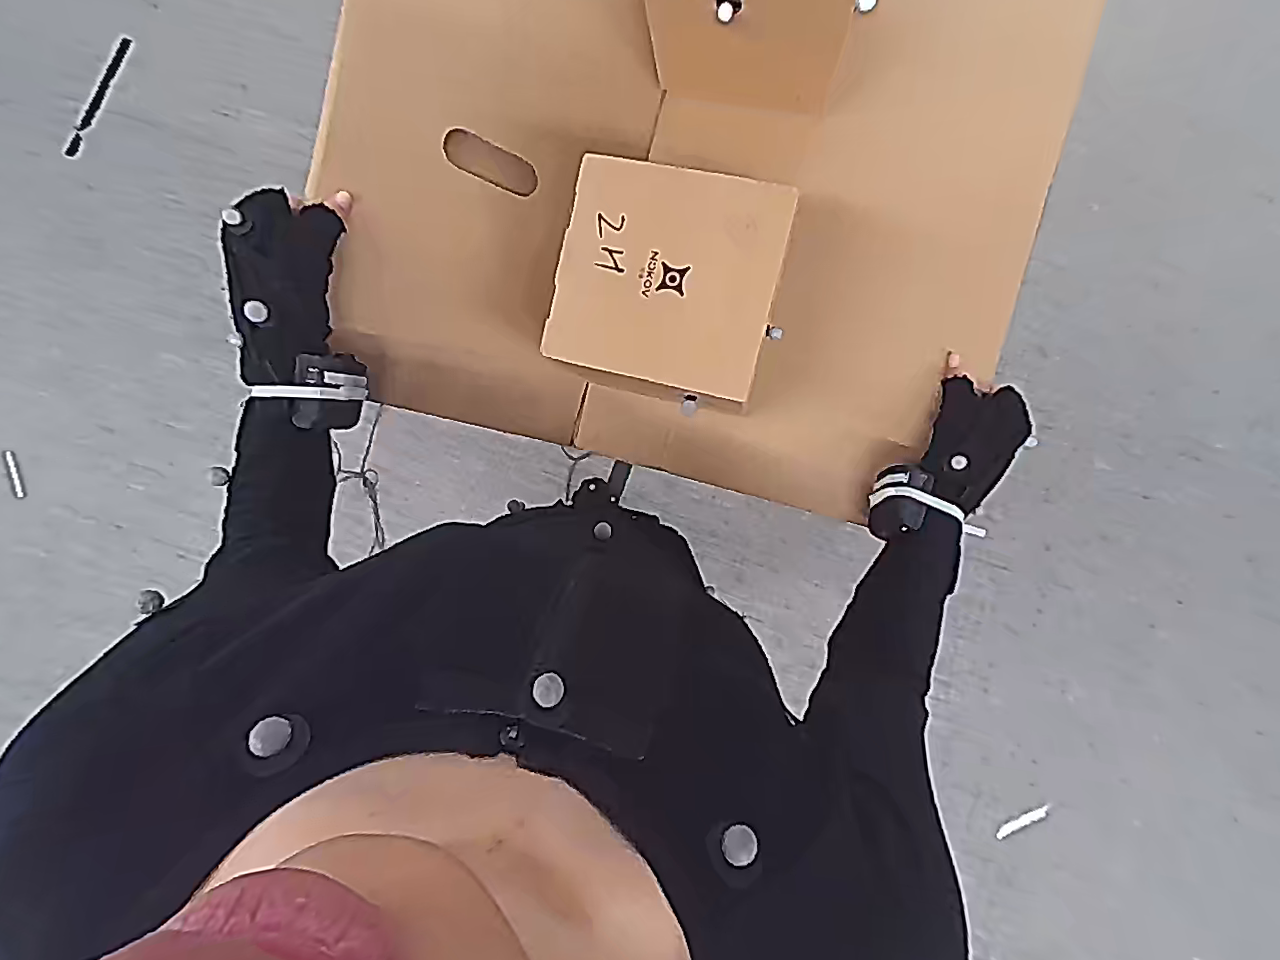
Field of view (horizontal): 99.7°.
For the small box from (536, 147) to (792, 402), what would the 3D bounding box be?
[{"bbox_3d":[0.029,-0.174,0.511,0.179,0.176,0.168,15,95,10],"label":"small box"}]
